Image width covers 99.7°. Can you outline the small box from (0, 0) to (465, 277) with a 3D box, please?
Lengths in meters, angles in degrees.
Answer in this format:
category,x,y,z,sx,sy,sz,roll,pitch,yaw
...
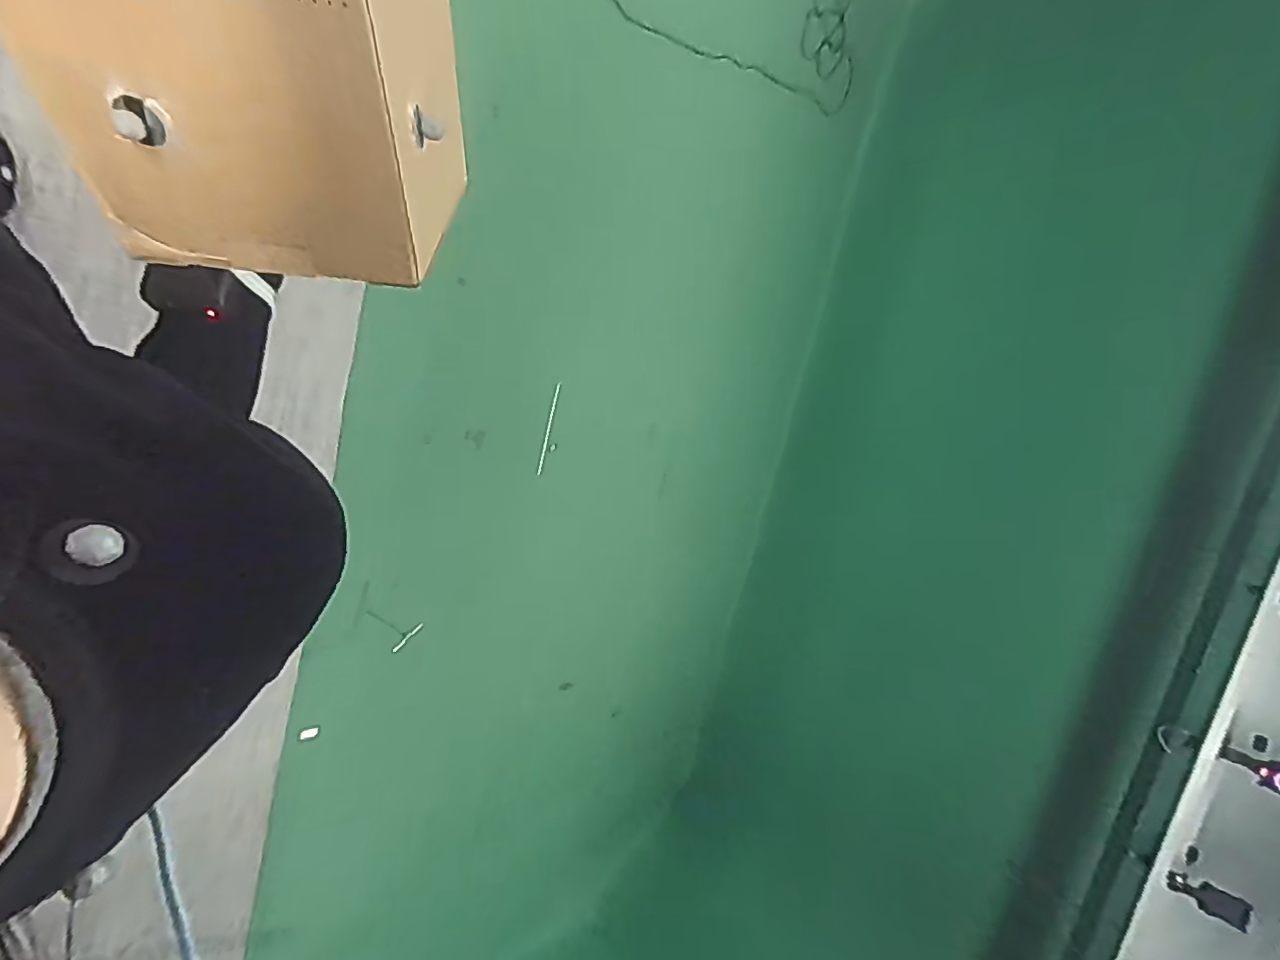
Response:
category,x,y,z,sx,sy,sz,roll,pitch,yaw
small box,-0.211,-0.245,0.320,0.176,0.168,0.179,101,-10,-48
